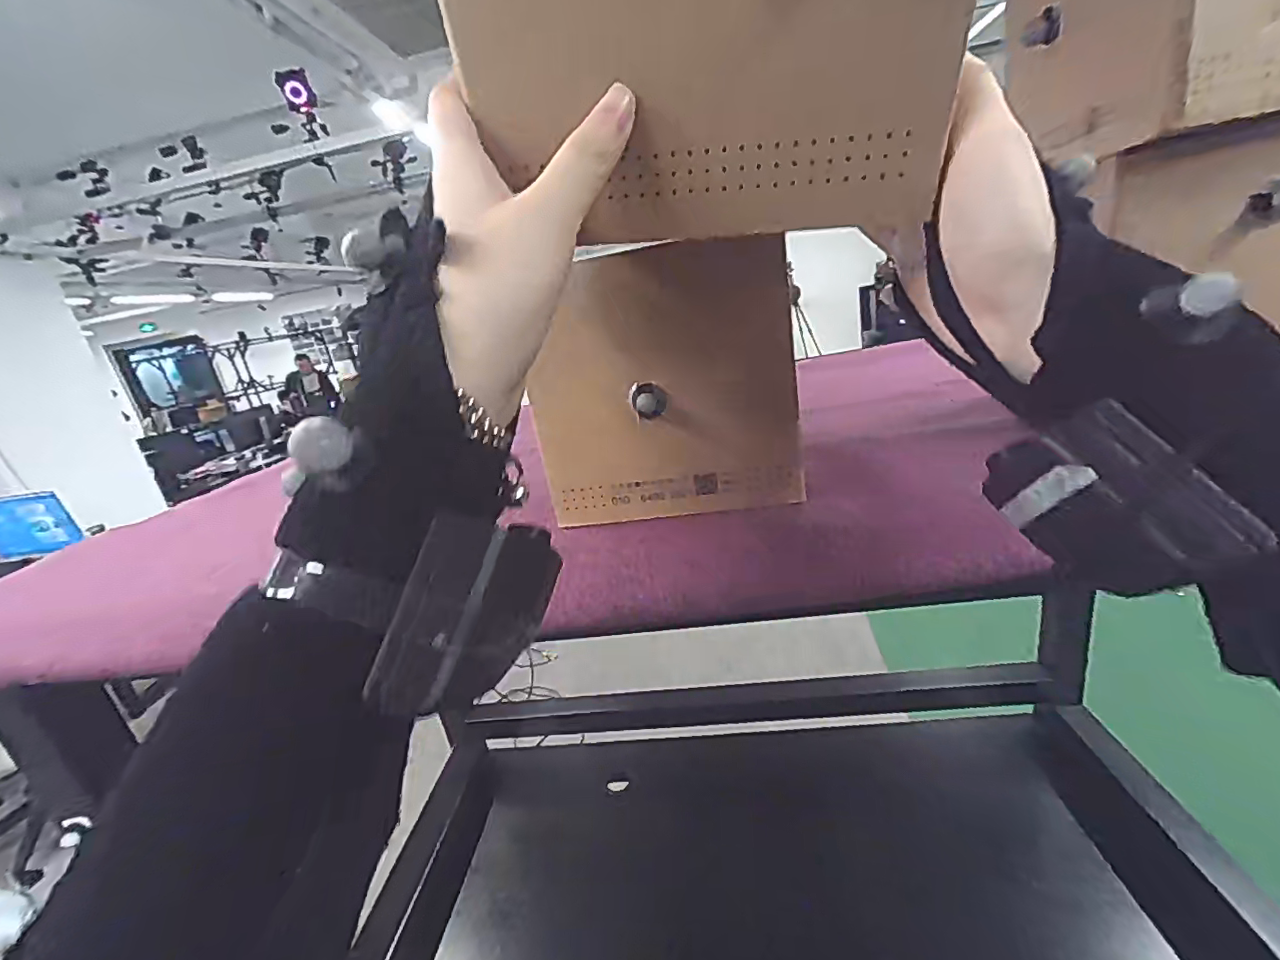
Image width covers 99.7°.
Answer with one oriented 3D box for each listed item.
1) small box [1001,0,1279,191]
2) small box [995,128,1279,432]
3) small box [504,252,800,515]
[{"bbox_3d":[0.347,-0.283,0.319,0.179,0.176,0.168,-8,18,10],"label":"small box"},{"bbox_3d":[0.380,-0.136,0.381,0.179,0.176,0.168,-6,18,14],"label":"small box"},{"bbox_3d":[0.023,-0.078,0.407,0.168,0.176,0.179,-6,19,10],"label":"small box"}]
